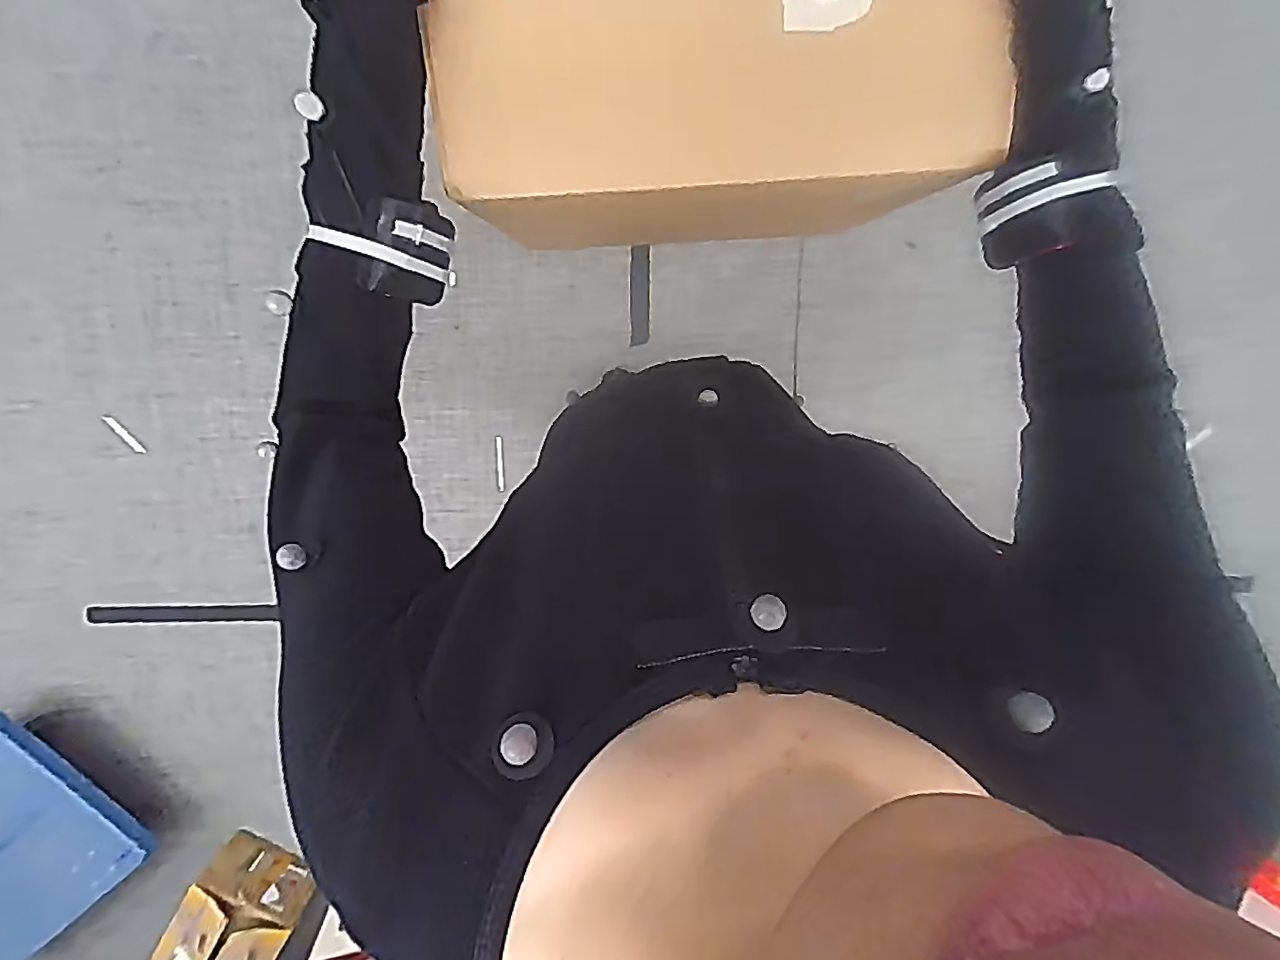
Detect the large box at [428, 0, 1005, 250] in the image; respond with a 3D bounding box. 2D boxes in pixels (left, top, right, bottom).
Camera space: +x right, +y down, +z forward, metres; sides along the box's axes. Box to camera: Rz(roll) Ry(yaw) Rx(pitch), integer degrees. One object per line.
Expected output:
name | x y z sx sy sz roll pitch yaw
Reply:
large box | 0.046 -0.412 0.501 0.408 0.320 0.320 -4 107 0
